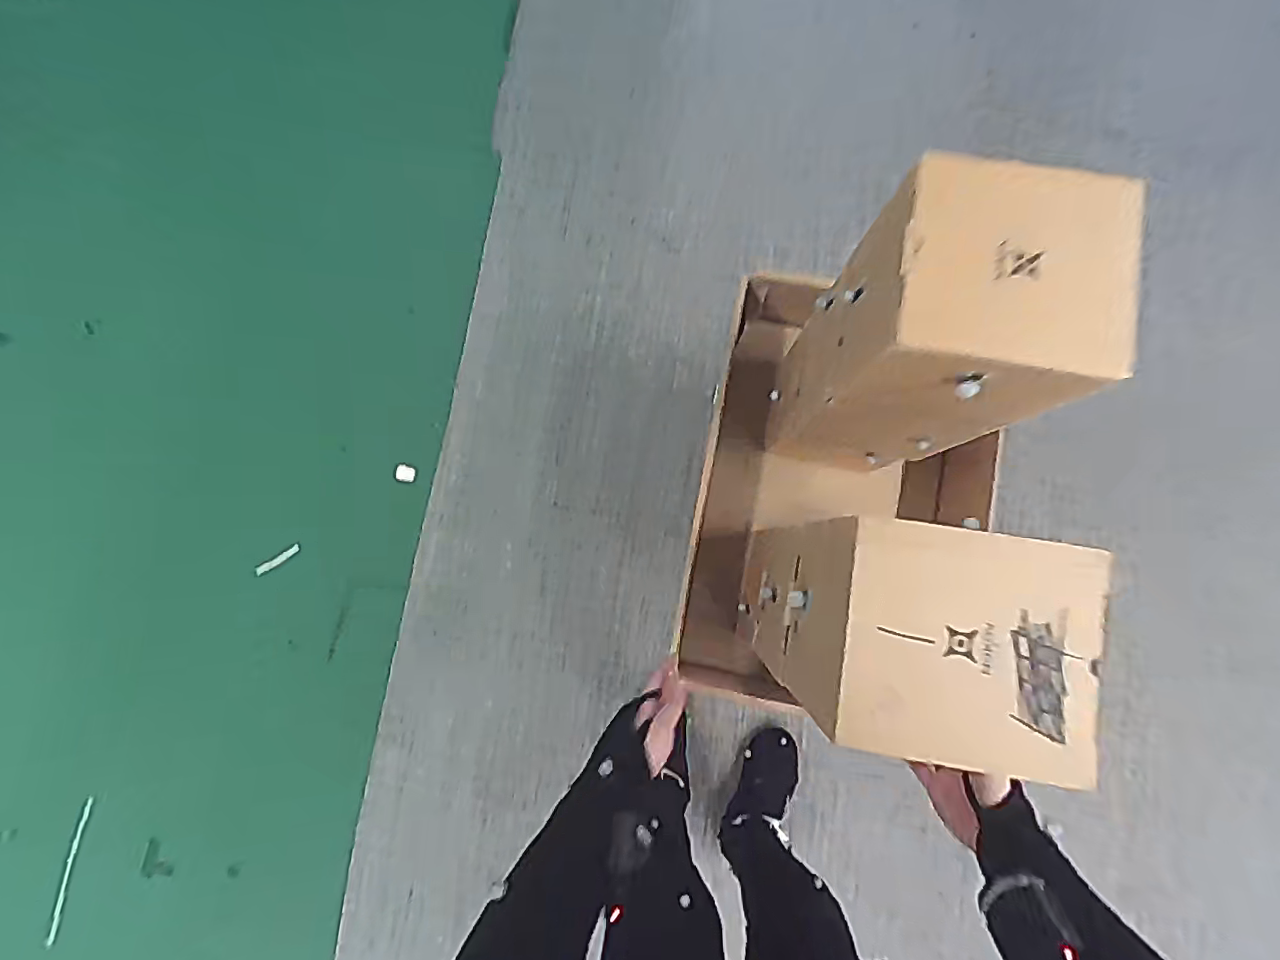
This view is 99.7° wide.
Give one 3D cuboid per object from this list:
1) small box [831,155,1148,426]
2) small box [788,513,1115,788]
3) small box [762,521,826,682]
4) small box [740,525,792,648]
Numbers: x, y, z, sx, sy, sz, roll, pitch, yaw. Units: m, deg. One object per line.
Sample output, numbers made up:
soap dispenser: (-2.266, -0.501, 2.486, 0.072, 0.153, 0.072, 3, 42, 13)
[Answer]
small box: (0.298, -0.154, 0.495, 0.179, 0.176, 0.168, 10, 83, 3)
small box: (0.239, 0.124, 0.456, 0.179, 0.176, 0.168, 9, 84, 4)
small box: (0.245, 0.146, 0.619, 0.179, 0.176, 0.168, 10, 84, 5)
small box: (0.251, 0.167, 0.782, 0.179, 0.176, 0.168, 12, 84, 3)
